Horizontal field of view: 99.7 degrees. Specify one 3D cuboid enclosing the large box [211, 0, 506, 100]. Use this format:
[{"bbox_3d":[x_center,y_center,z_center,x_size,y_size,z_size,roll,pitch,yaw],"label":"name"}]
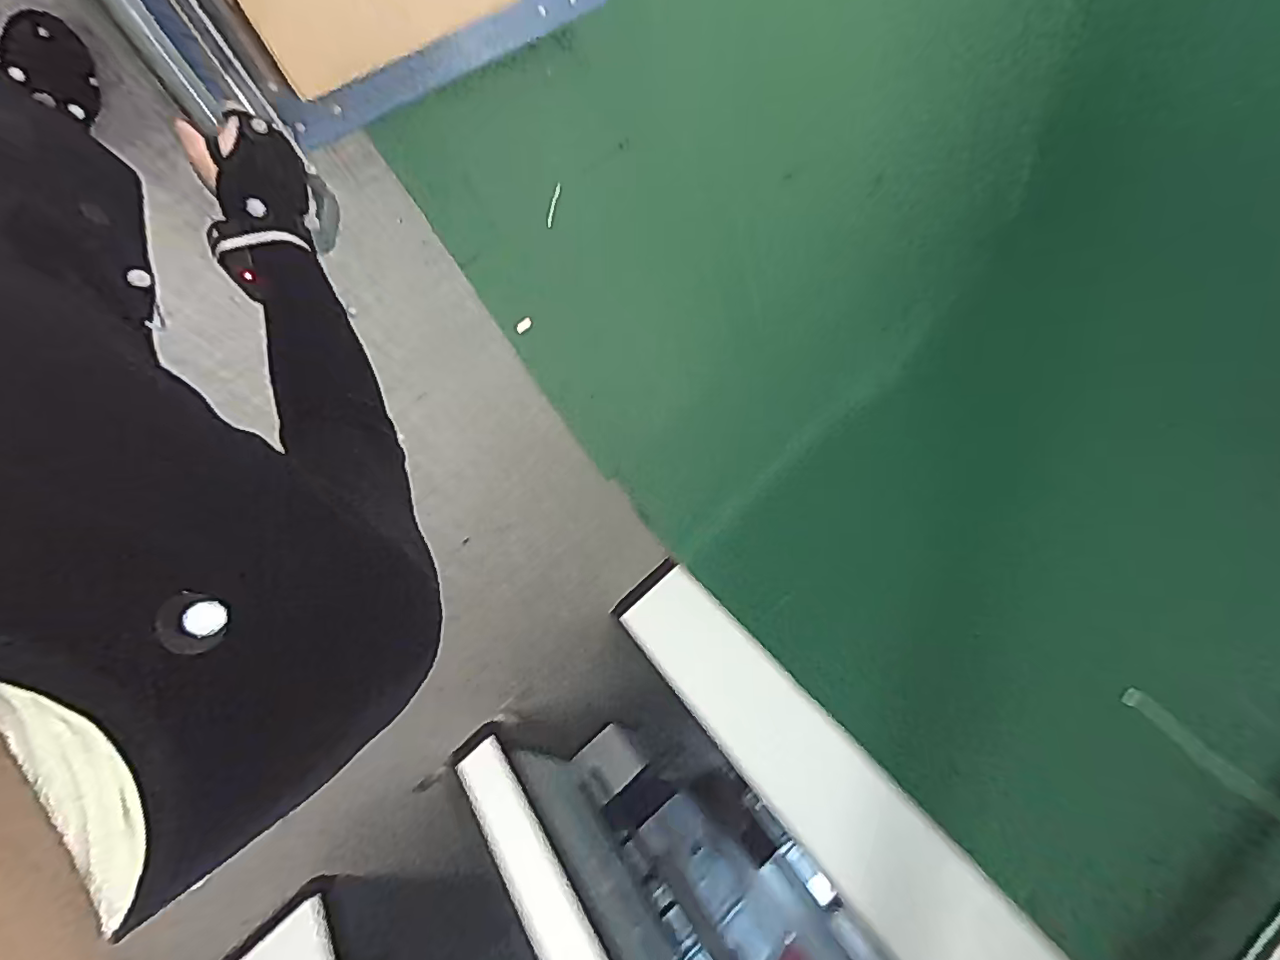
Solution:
[{"bbox_3d":[-0.493,-0.862,0.840,0.408,0.320,0.320,-37,142,-13],"label":"large box"}]
